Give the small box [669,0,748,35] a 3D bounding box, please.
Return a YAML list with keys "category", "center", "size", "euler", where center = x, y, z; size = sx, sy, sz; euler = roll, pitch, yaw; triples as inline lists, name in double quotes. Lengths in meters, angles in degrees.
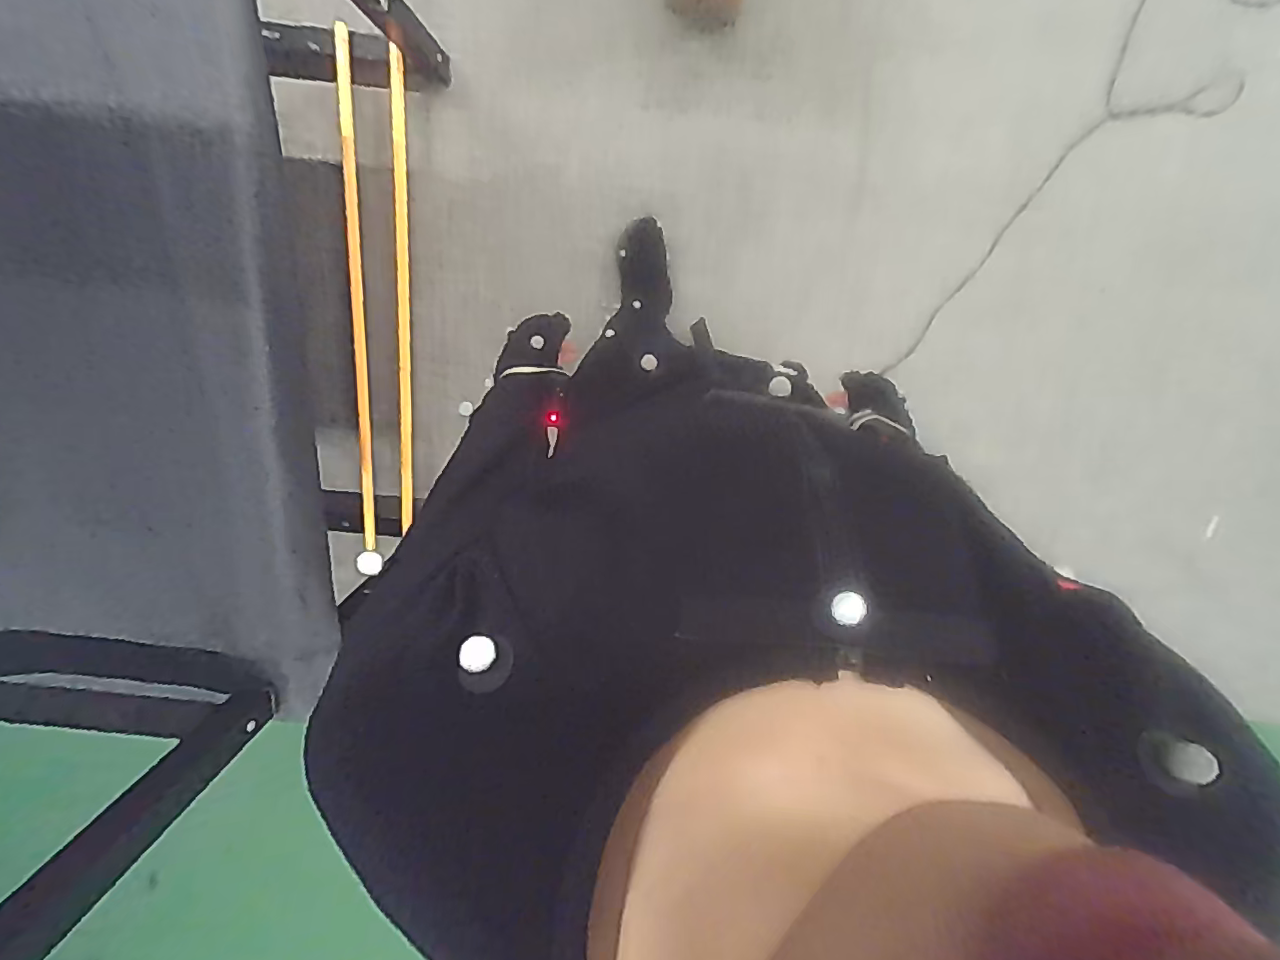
- category: "small box"
  center: [0.153, -1.060, 1.095]
  size: [0.168, 0.176, 0.179]
  euler: [12, 107, -1]
